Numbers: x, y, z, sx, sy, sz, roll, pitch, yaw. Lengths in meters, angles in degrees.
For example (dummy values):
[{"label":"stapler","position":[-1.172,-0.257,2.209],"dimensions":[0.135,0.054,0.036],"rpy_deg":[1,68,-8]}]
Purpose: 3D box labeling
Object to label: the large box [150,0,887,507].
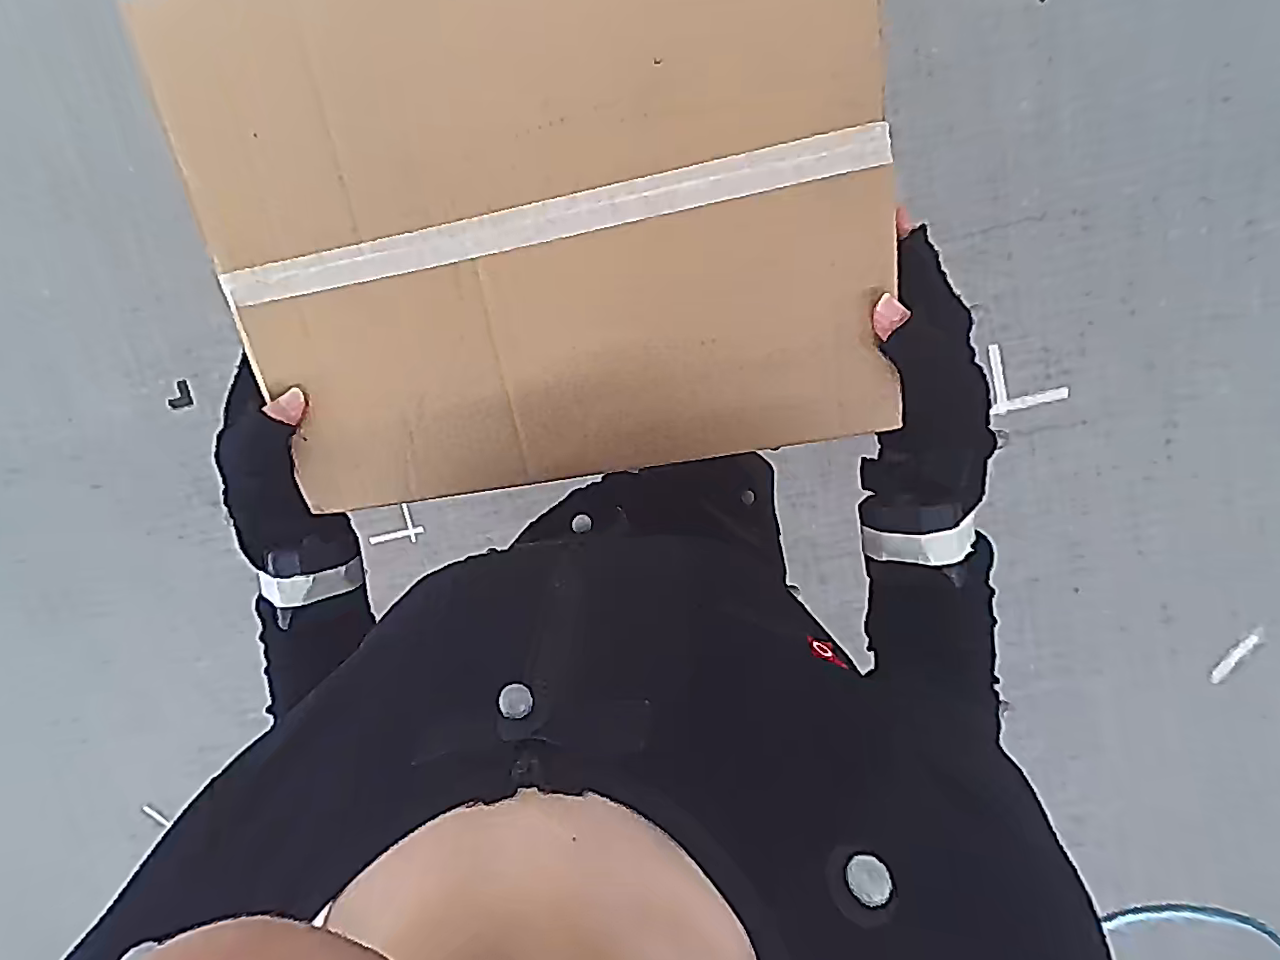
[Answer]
[{"label":"large box","position":[-0.050,-0.200,0.468],"dimensions":[0.408,0.320,0.320],"rpy_deg":[-9,106,8]}]
